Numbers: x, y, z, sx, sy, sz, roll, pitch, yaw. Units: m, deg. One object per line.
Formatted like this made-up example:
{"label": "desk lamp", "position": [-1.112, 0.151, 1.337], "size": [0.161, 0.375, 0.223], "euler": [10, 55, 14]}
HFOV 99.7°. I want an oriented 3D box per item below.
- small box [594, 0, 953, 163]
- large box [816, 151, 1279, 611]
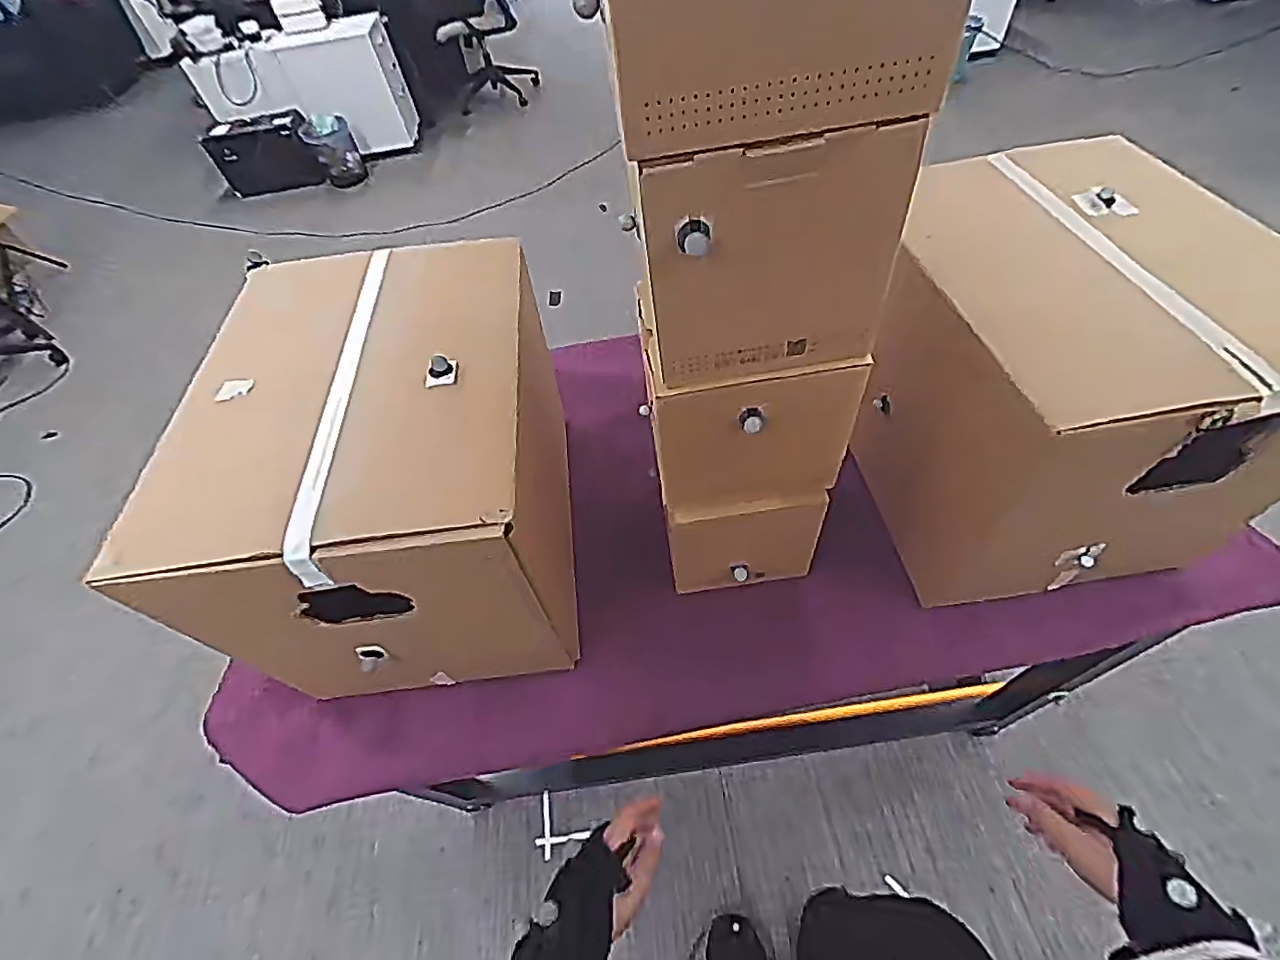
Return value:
{"label": "small box", "position": [0.059, -0.296, 0.283], "size": [0.179, 0.176, 0.168], "euler": [-9, 51, 2]}
{"label": "large box", "position": [0.435, -0.114, 0.630], "size": [0.320, 0.320, 0.408], "euler": [-9, 52, 0]}
